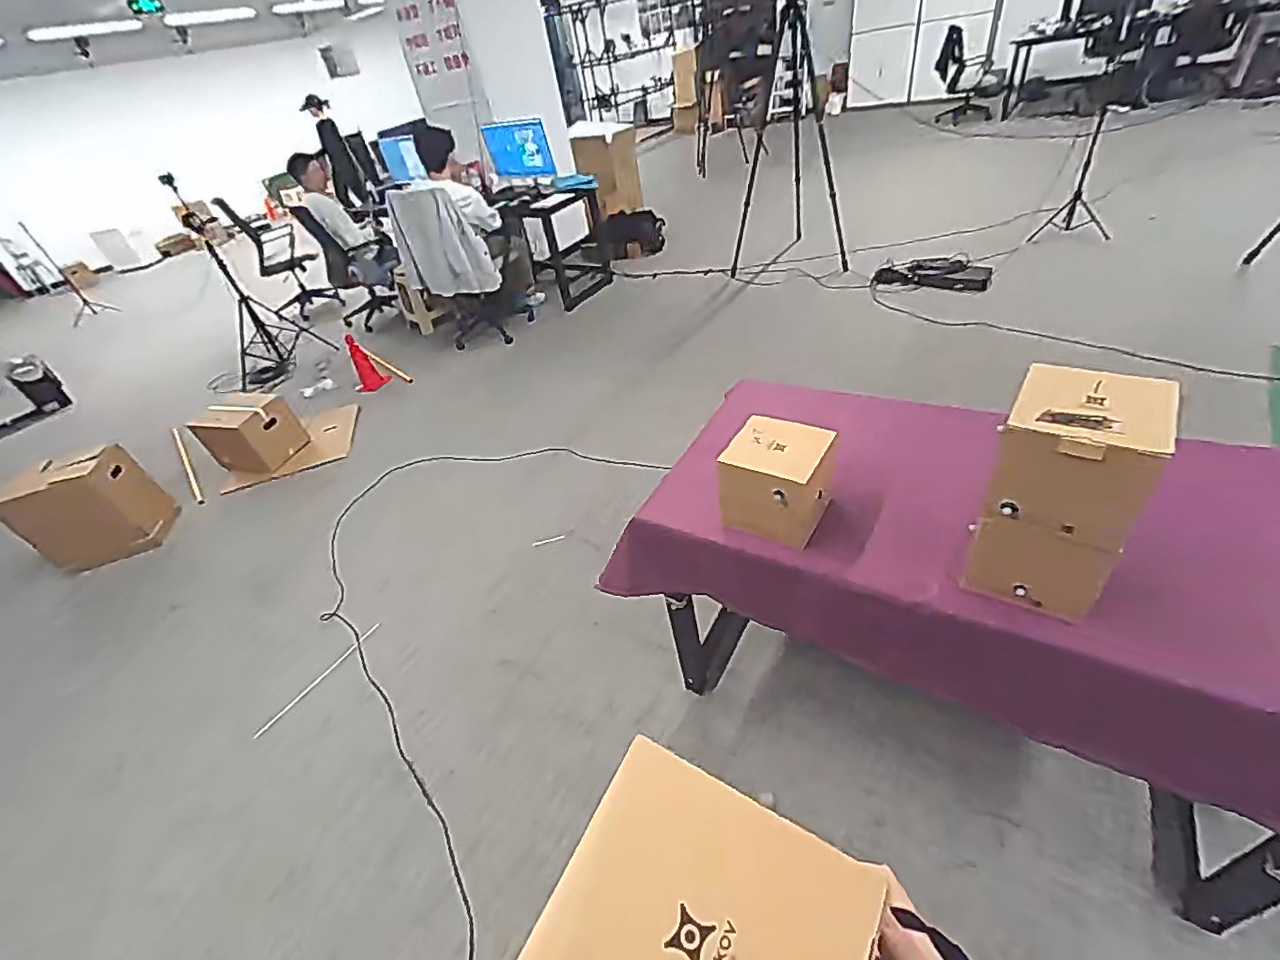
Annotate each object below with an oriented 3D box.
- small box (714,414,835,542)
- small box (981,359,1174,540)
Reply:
[{"bbox_3d":[0.266,-0.004,1.061,0.179,0.176,0.168,16,47,31],"label":"small box"},{"bbox_3d":[0.597,-0.044,0.753,0.168,0.176,0.179,19,48,34],"label":"small box"}]
